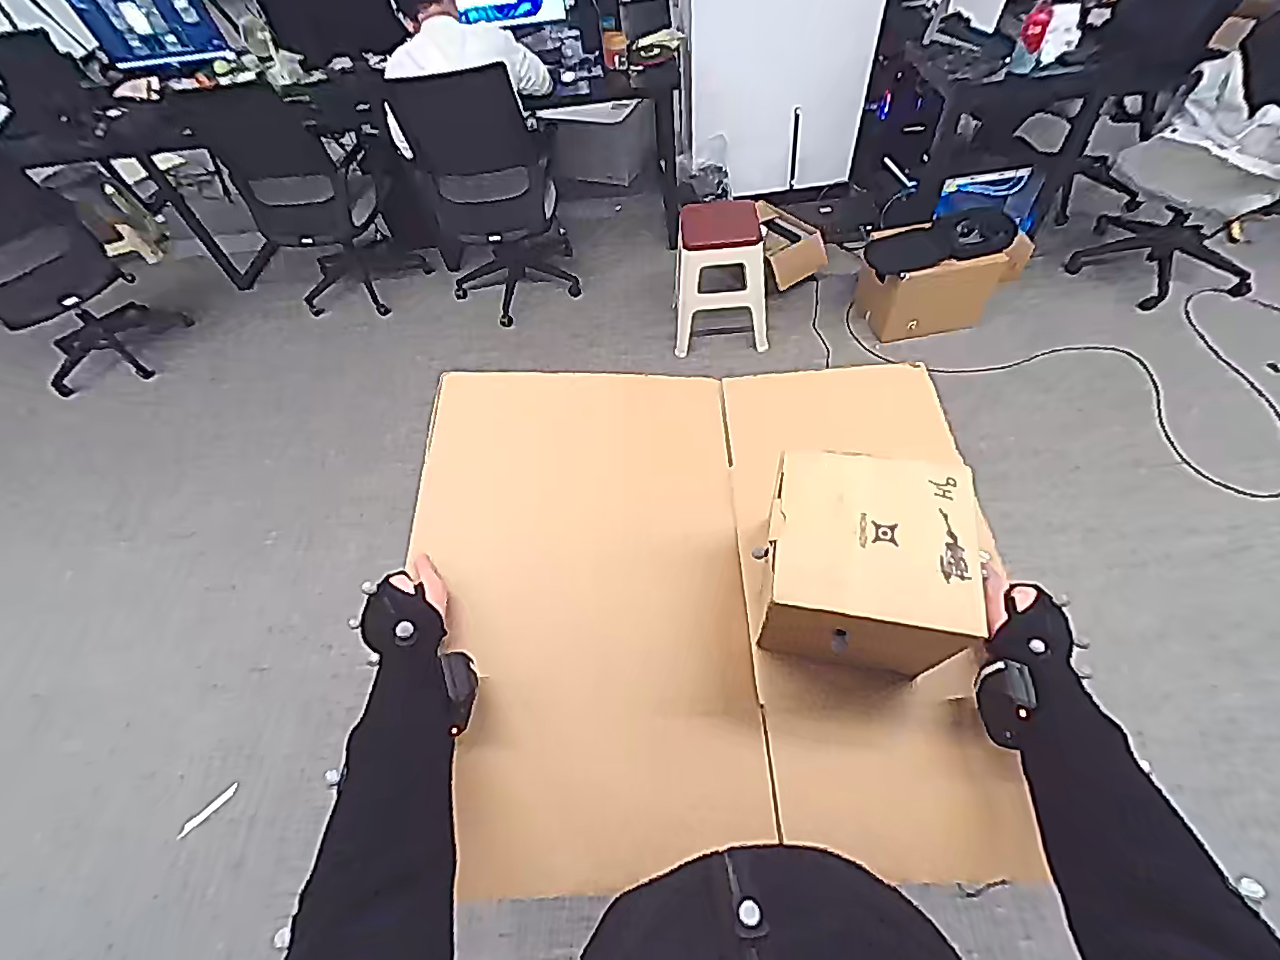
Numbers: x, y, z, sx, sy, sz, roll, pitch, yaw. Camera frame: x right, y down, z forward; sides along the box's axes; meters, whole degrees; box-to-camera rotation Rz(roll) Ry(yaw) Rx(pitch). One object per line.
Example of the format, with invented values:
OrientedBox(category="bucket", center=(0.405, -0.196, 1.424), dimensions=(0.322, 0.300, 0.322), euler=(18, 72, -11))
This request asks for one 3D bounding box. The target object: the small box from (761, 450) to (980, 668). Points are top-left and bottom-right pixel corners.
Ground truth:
OrientedBox(category="small box", center=(0.225, 0.088, 0.569), dimensions=(0.179, 0.176, 0.168), euler=(7, 61, 12))
